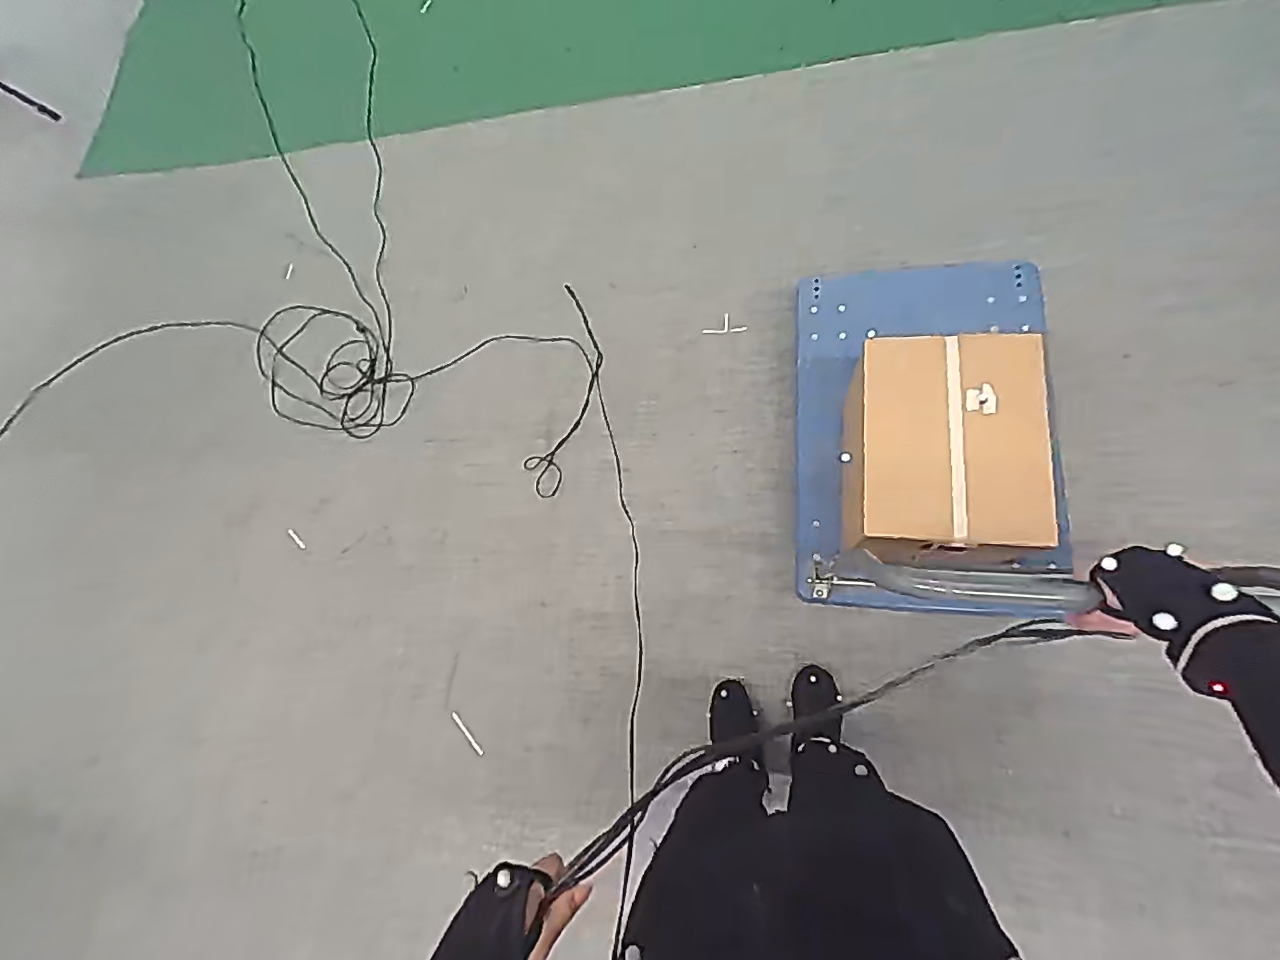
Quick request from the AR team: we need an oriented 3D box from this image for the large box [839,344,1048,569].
[{"bbox_3d":[0.602,-0.033,1.150,0.320,0.320,0.408,3,75,13],"label":"large box"}]
